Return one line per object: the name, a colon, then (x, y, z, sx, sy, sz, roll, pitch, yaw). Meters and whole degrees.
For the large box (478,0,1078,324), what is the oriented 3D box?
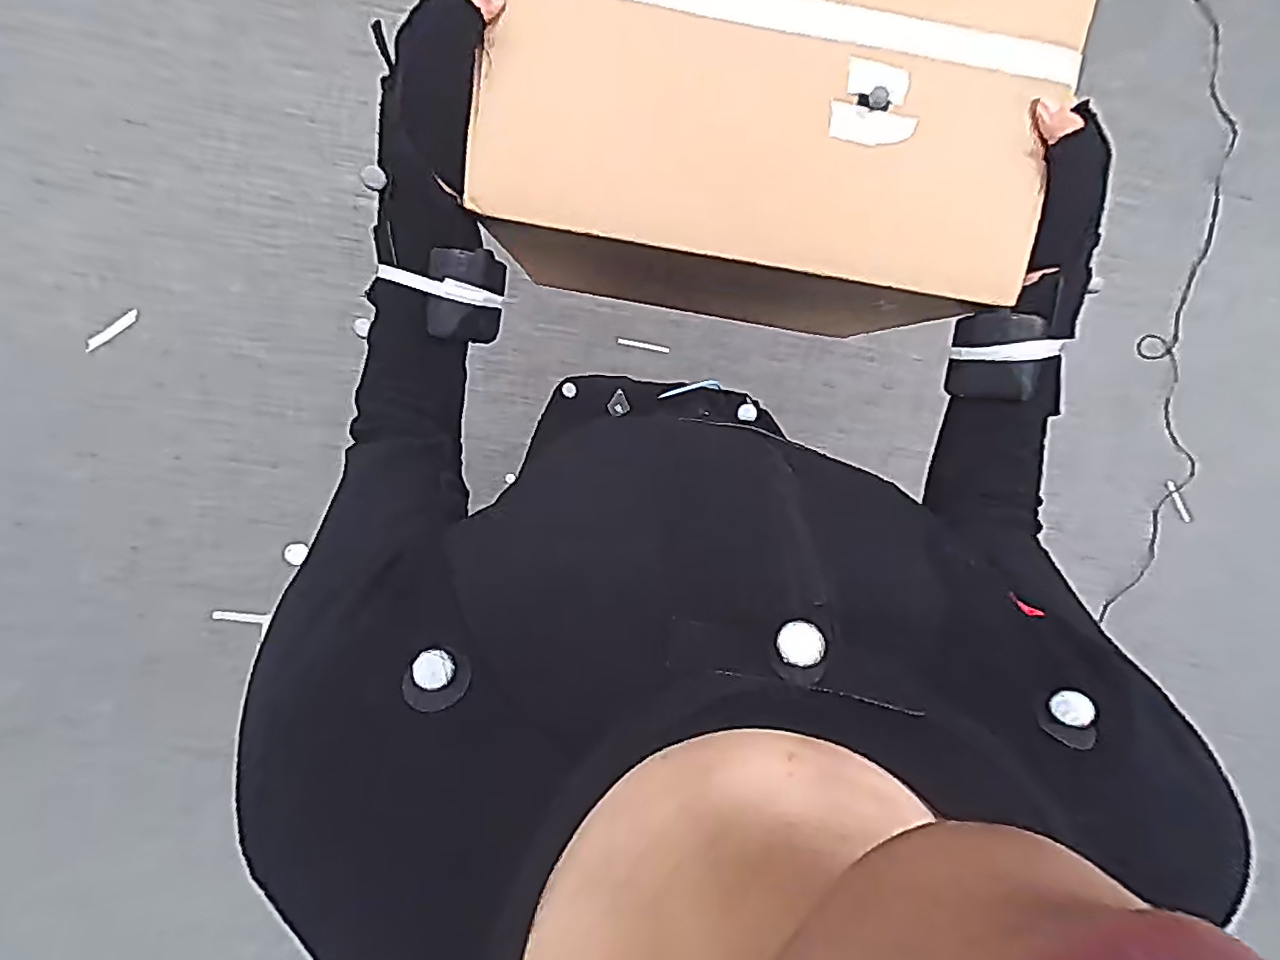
large box: (0.091, -0.346, 0.516, 0.408, 0.320, 0.320, 9, 102, -5)
